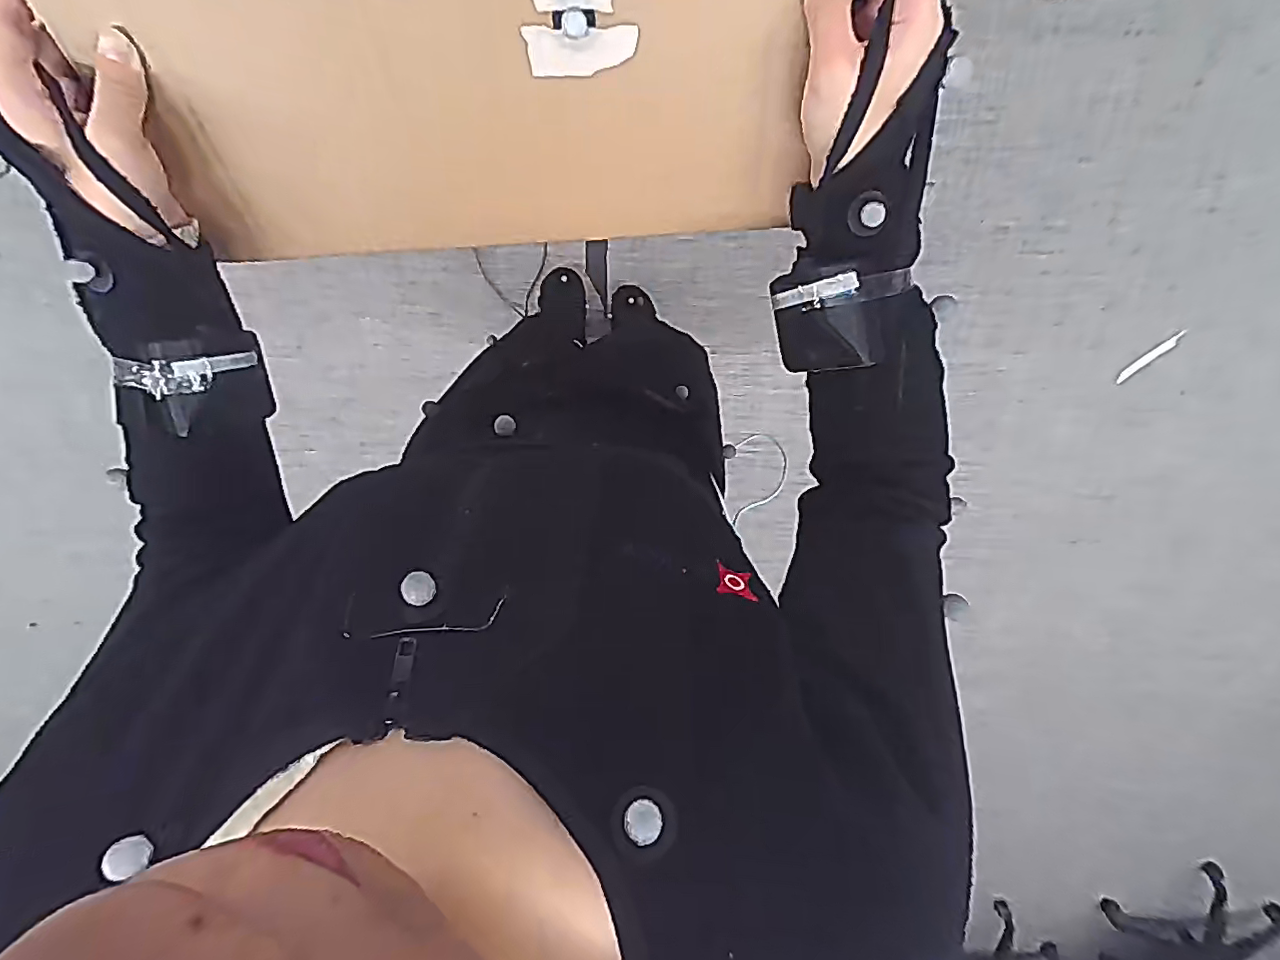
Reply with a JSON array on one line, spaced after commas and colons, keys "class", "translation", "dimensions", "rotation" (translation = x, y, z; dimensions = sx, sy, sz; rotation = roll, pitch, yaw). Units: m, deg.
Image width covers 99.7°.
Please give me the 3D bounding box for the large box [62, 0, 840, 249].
[{"class": "large box", "translation": [-0.101, -0.382, 0.351], "dimensions": [0.408, 0.320, 0.320], "rotation": [-3, 138, 2]}]
